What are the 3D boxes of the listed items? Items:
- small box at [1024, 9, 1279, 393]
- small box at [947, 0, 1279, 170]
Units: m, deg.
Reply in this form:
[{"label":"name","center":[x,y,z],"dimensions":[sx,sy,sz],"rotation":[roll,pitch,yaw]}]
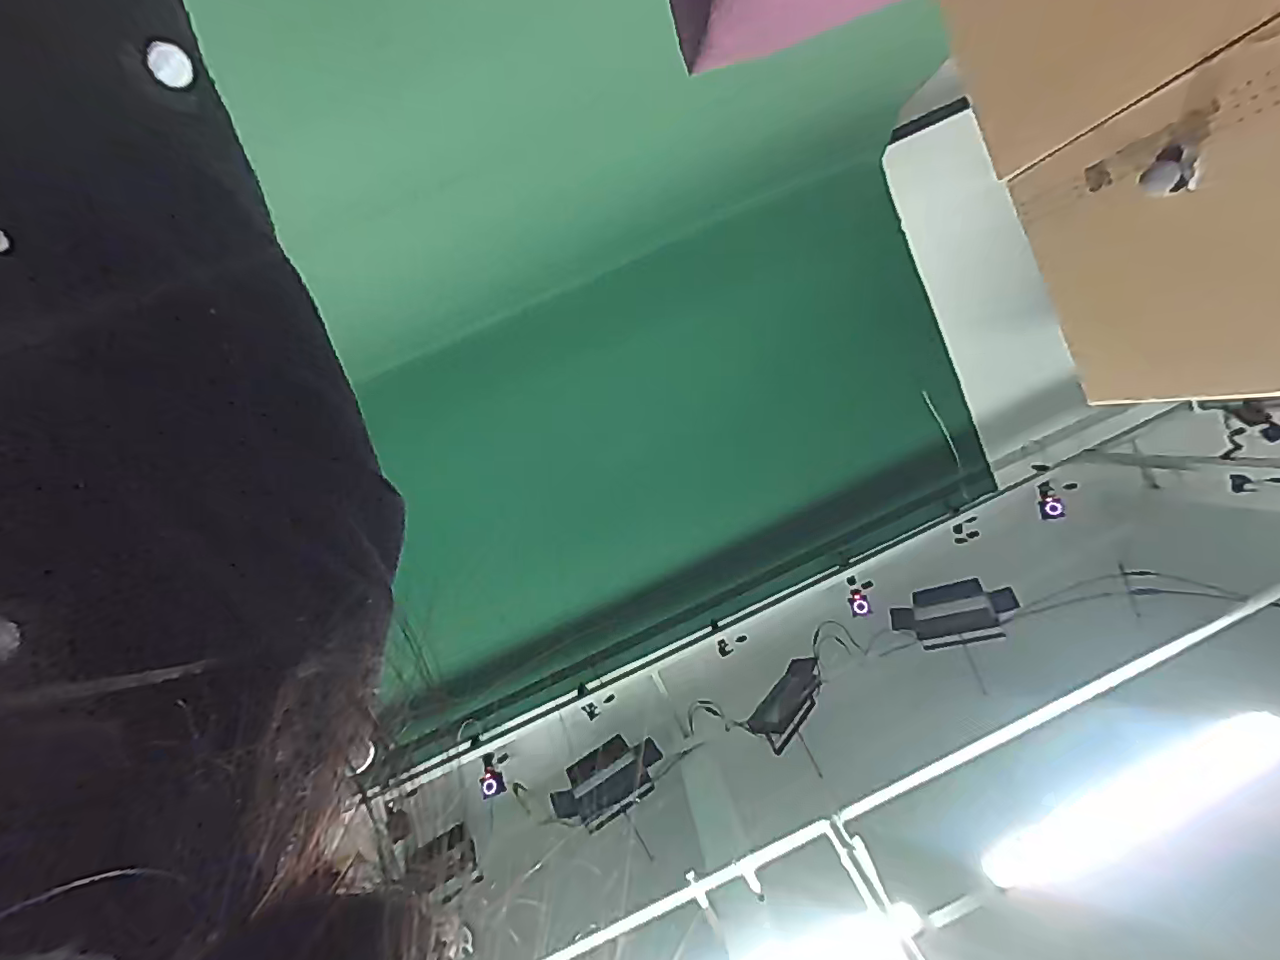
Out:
[{"label":"small box","center":[0.364,-0.164,0.287],"dimensions":[0.179,0.176,0.168],"rotation":[-26,-174,-1]},{"label":"small box","center":[0.291,-0.308,0.273],"dimensions":[0.179,0.176,0.168],"rotation":[-26,-173,-3]}]
